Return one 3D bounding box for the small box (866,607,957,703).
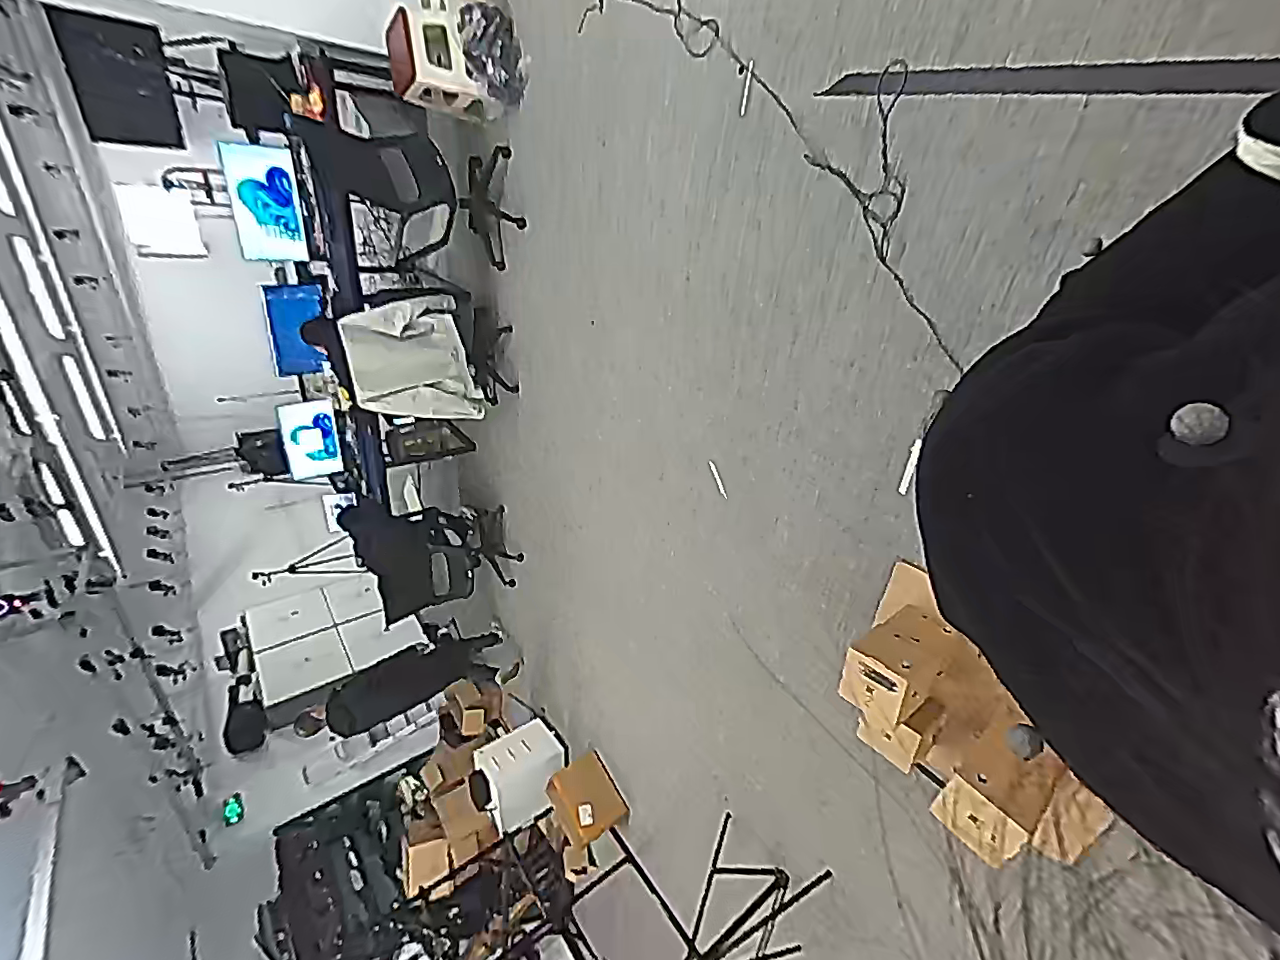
[{"bbox_3d":[0.794,0.500,1.577,0.168,0.176,0.179,30,126,44],"label":"small box"}]

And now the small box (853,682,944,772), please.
[{"bbox_3d":[0.797,0.744,1.671,0.179,0.176,0.168,29,126,44],"label":"small box"}]

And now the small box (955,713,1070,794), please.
[{"bbox_3d":[0.980,0.747,1.426,0.179,0.176,0.168,36,130,39],"label":"small box"}]

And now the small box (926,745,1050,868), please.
[{"bbox_3d":[0.853,0.787,1.328,0.179,0.176,0.168,38,131,38],"label":"small box"}]
